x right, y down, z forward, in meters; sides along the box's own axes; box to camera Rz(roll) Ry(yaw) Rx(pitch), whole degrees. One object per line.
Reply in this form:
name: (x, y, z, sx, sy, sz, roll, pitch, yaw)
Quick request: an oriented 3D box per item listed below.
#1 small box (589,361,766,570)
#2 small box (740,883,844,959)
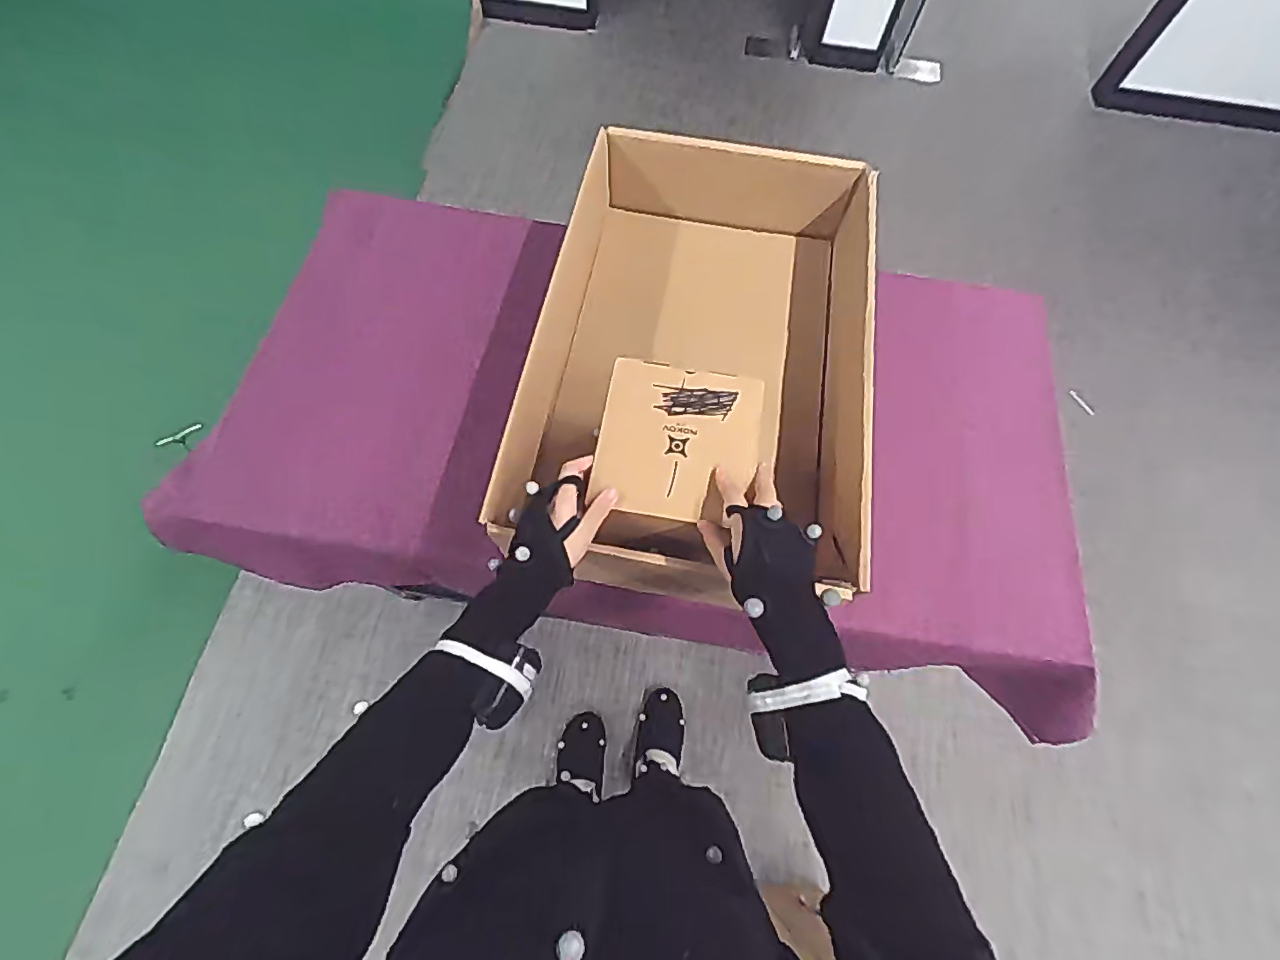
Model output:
small box: (0.040, -0.009, 0.630, 0.168, 0.176, 0.179, 9, 69, 3)
small box: (0.303, 0.946, 1.100, 0.179, 0.176, 0.168, 5, 67, -1)
